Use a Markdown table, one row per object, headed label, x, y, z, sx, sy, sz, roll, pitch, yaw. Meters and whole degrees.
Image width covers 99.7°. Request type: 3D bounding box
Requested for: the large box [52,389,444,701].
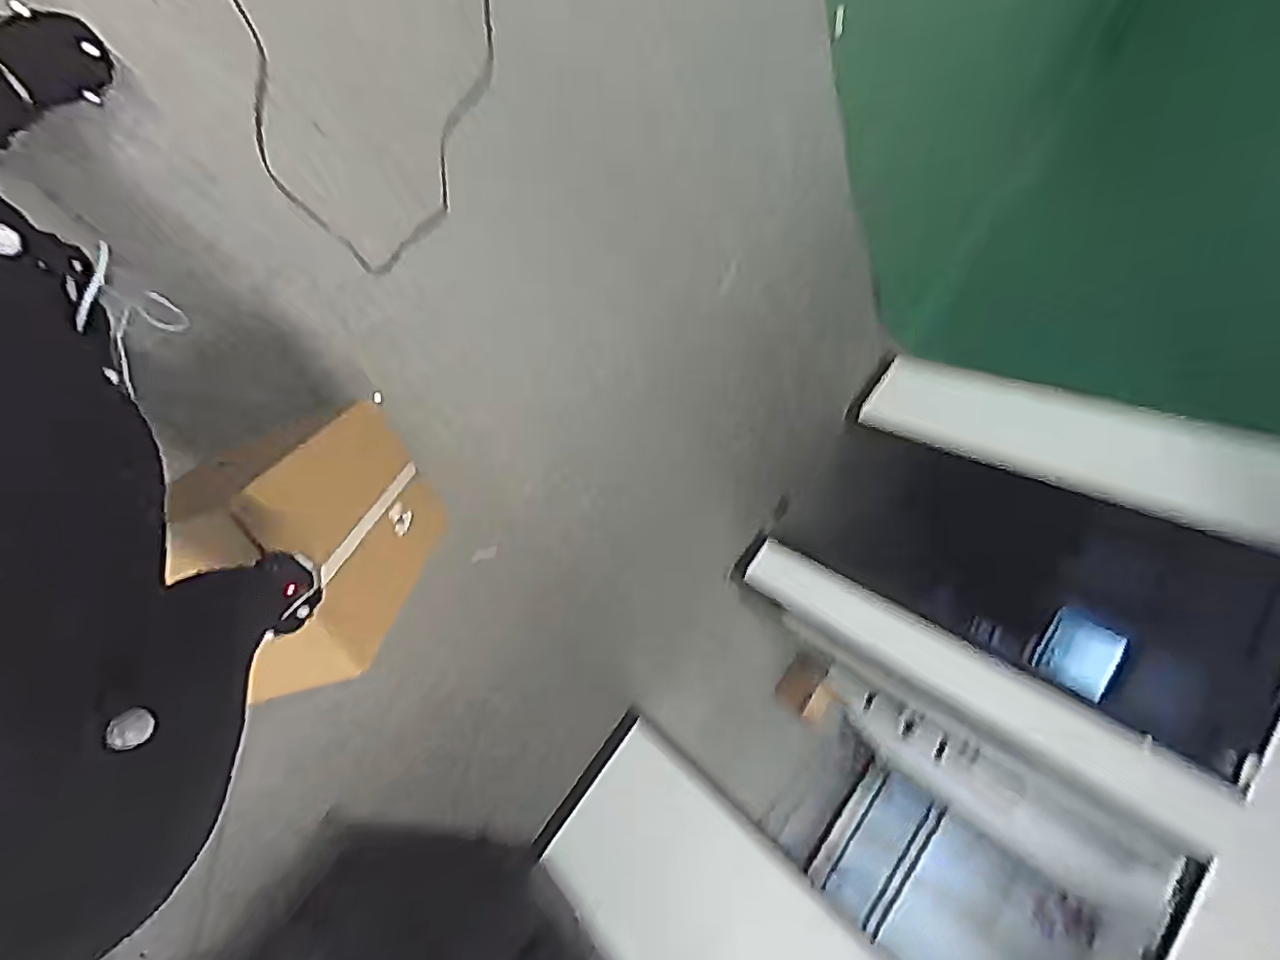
| label | x | y | z | sx | sy | sz | roll | pitch | yaw |
| --- | --- | --- | --- | --- | --- | --- | --- | --- | --- |
| large box | -0.608 | 0.093 | 0.937 | 0.320 | 0.408 | 0.320 | -17 | 117 | 9 |
